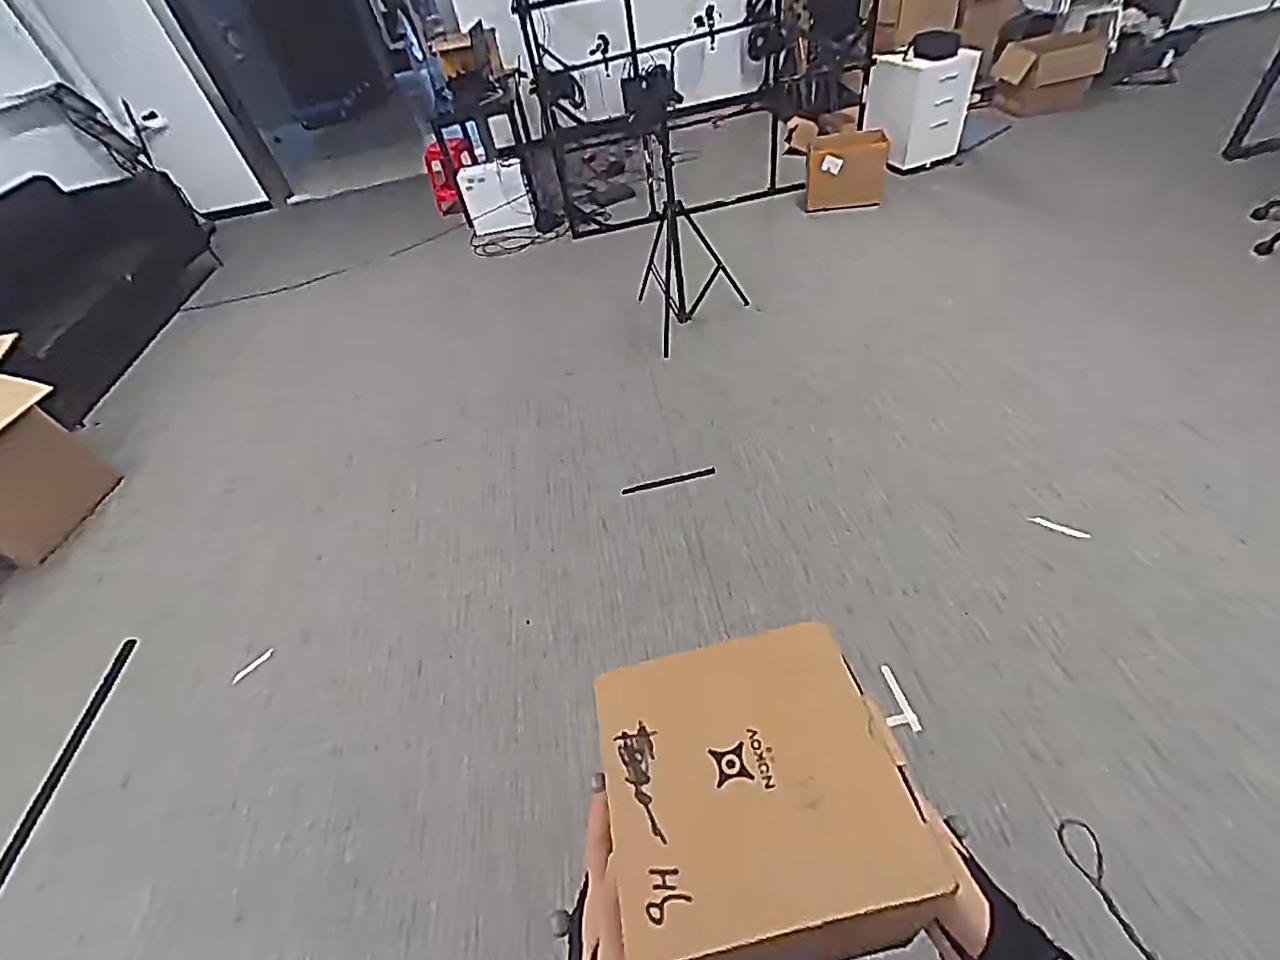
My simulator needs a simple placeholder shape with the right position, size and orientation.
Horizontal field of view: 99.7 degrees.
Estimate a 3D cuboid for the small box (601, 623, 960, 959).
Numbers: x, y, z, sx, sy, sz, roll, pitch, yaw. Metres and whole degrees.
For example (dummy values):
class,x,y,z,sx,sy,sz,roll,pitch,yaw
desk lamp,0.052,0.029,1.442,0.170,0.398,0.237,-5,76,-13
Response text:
class,x,y,z,sx,sy,sz,roll,pitch,yaw
small box,0.078,0.232,0.385,0.179,0.176,0.168,-12,41,-2
